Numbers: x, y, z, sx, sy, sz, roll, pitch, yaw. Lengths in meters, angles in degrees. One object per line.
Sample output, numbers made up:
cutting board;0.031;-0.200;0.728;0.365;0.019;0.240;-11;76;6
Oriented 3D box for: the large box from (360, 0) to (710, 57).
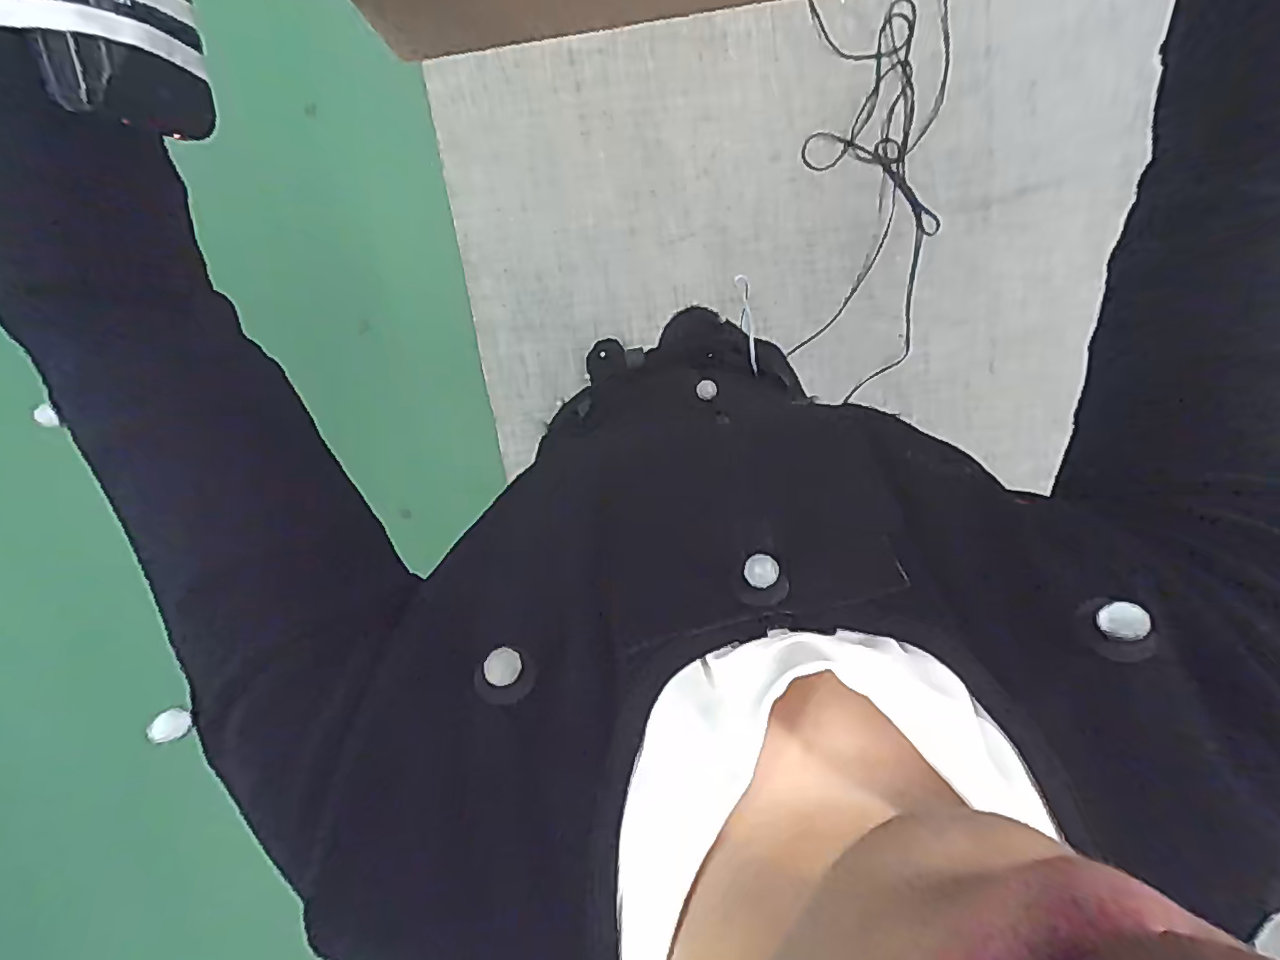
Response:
large box;-0.021;-0.482;0.258;0.408;0.320;0.320;-10;107;0
